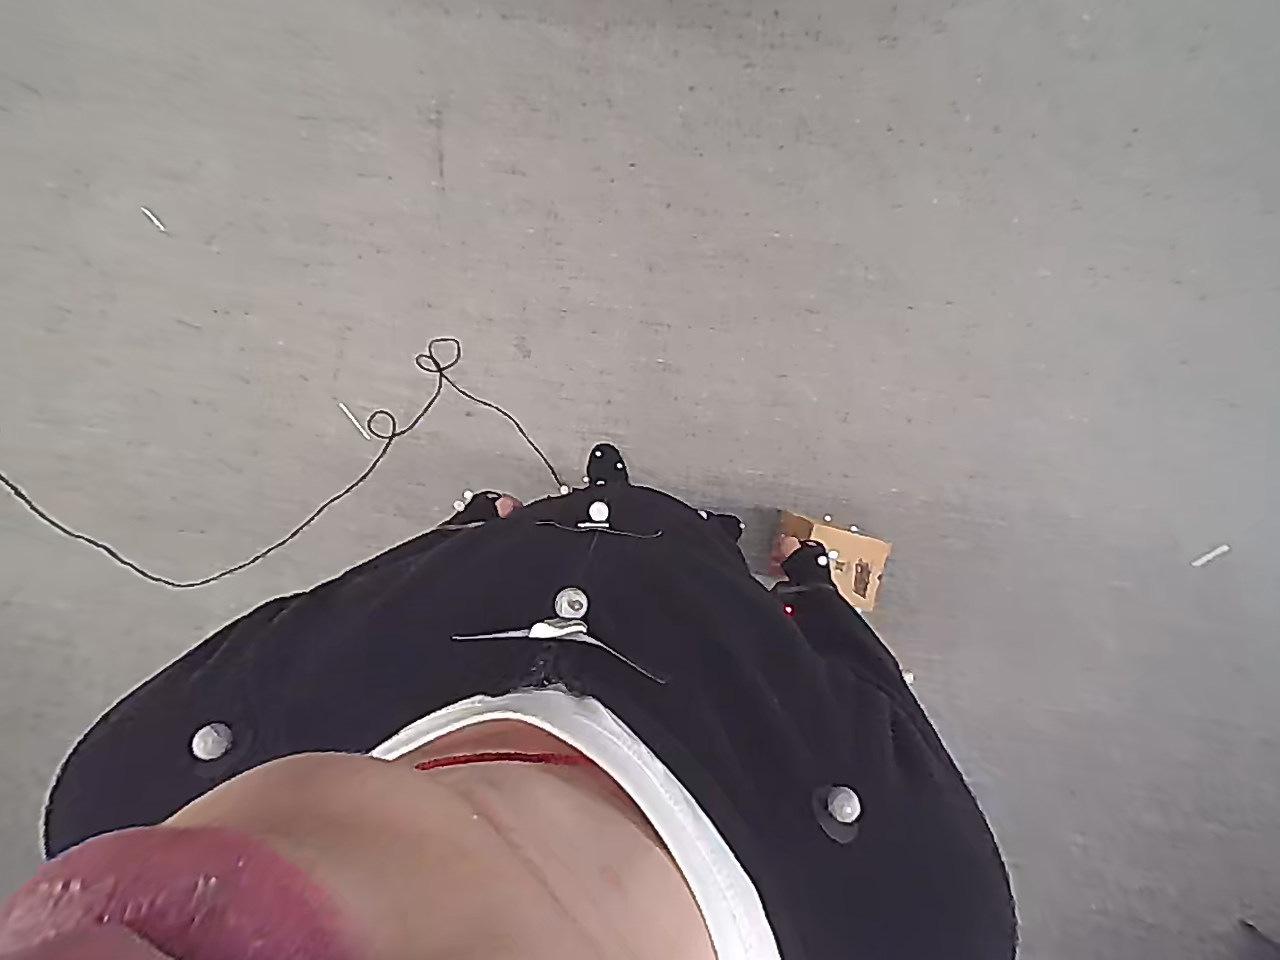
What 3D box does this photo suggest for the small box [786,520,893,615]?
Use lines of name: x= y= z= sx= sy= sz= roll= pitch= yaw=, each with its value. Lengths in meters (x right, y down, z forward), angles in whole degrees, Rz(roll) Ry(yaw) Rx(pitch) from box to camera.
small box: x=0.463 y=0.198 z=1.280 sx=0.179 sy=0.176 sz=0.168 roll=15 pitch=92 yaw=5

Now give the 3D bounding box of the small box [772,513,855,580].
small box: x=0.467 y=0.190 z=1.445 sx=0.179 sy=0.176 sz=0.168 roll=14 pitch=93 yaw=4
